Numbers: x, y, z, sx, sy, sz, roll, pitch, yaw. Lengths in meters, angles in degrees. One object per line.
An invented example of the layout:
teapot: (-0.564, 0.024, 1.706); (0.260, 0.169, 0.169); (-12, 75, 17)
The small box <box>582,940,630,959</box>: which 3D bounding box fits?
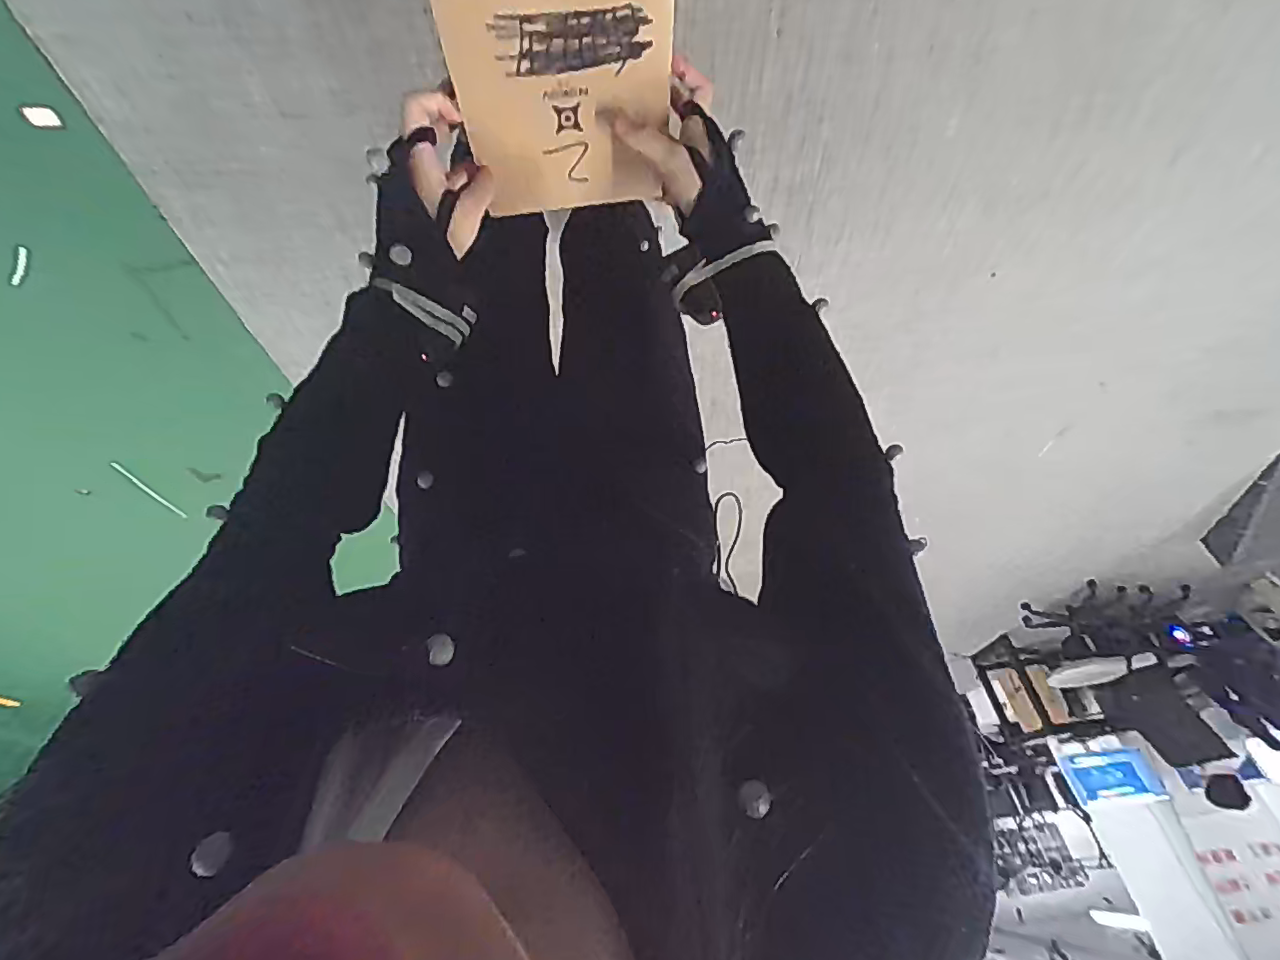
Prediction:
small box: (-0.127, 1.842, 2.016); (0.168, 0.176, 0.179); (1, 142, -11)
